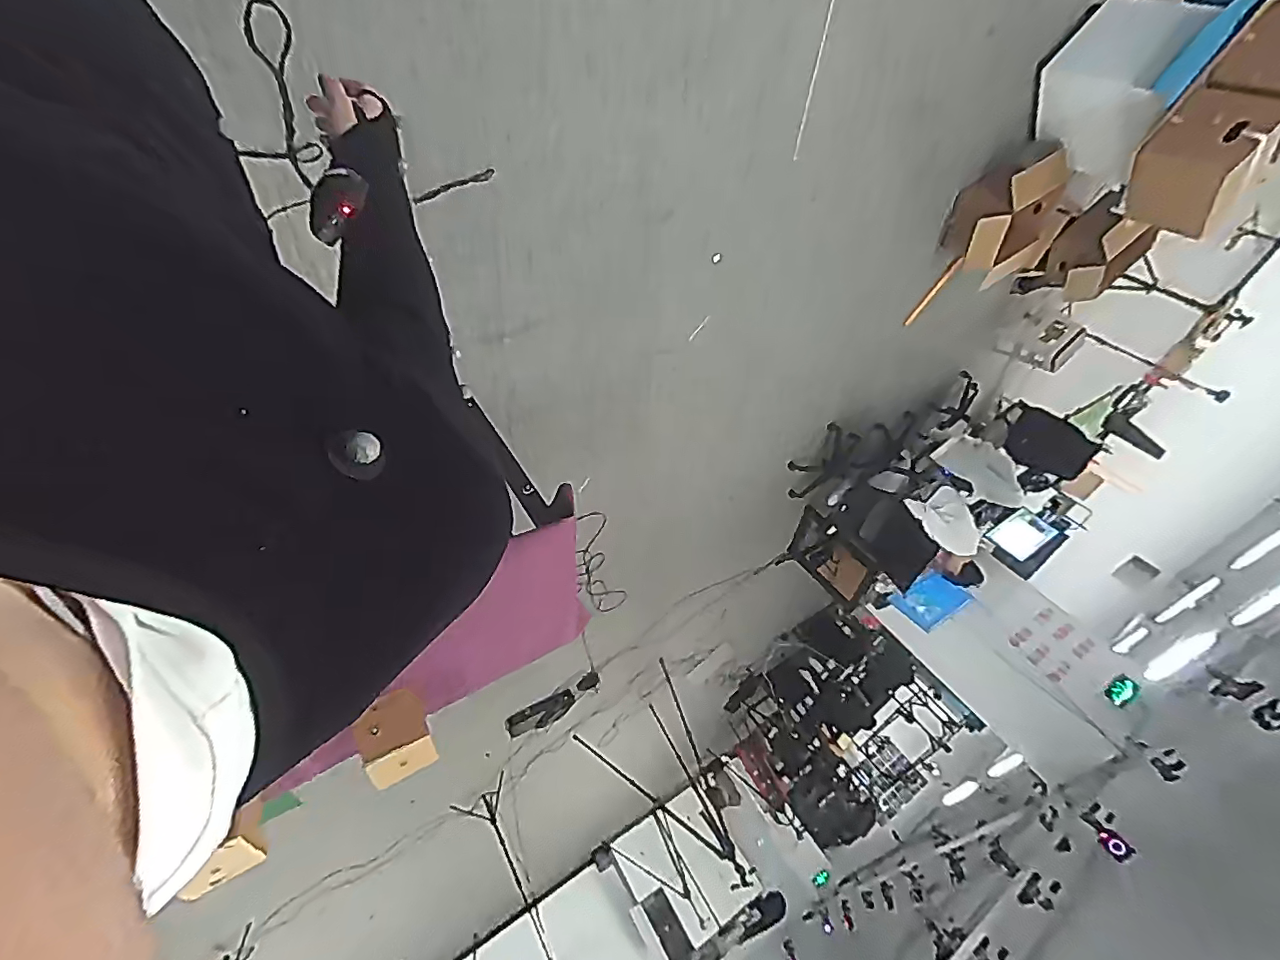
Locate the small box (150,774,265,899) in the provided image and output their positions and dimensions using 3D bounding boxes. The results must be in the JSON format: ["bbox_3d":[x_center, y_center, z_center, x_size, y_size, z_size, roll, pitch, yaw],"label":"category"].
[{"bbox_3d":[-1.033,0.842,1.291,0.168,0.176,0.179,-21,138,-27],"label":"small box"}]

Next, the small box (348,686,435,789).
[{"bbox_3d":[-0.680,0.696,1.480,0.168,0.176,0.179,-19,140,-28],"label":"small box"}]
